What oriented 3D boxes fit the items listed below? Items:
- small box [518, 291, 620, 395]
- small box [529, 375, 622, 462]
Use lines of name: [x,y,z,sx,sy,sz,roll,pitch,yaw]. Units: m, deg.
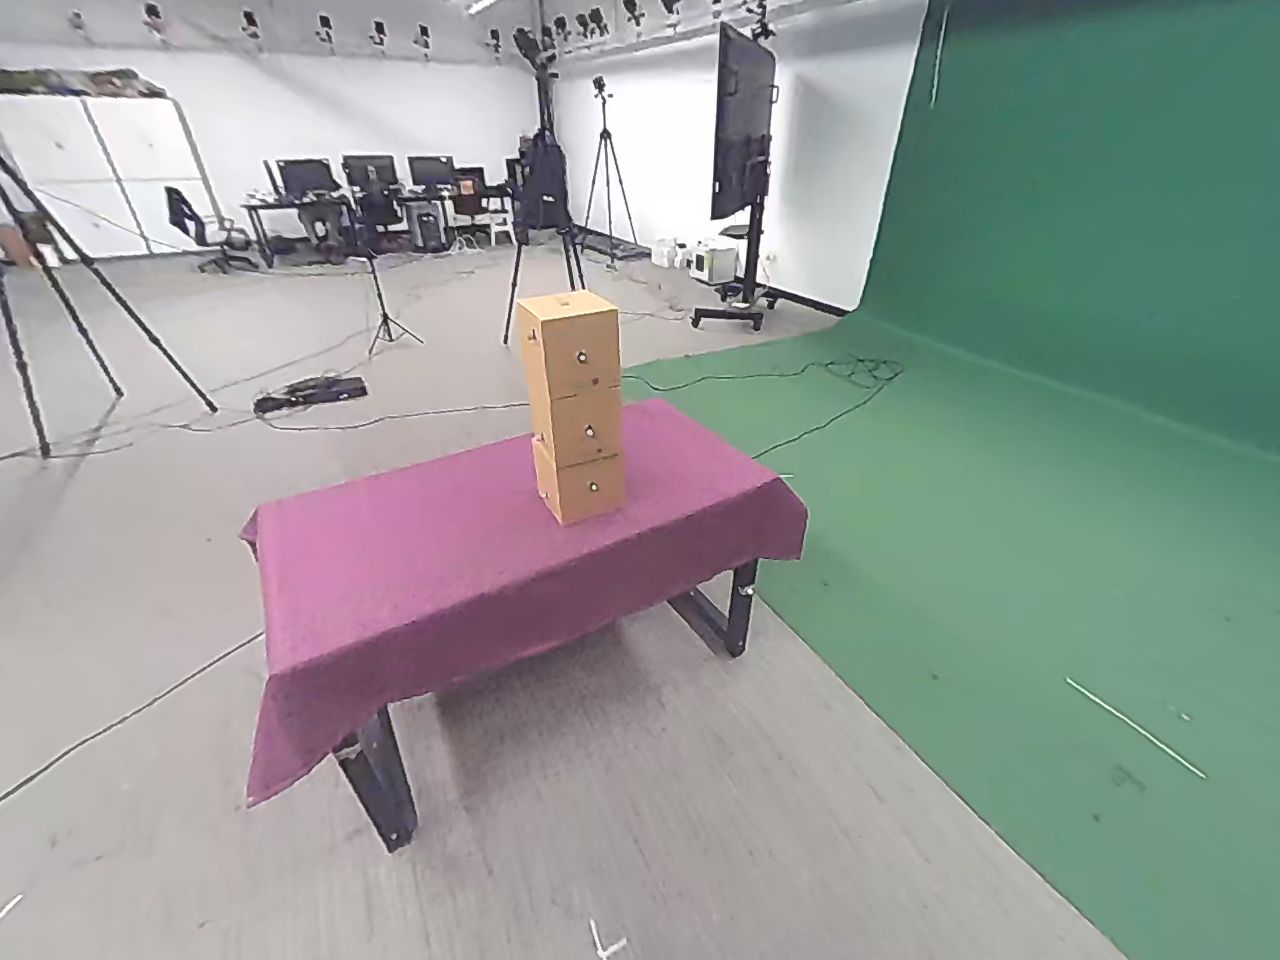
small box: [-0.149,-0.291,1.157,0.168,0.176,0.179,-16,35,-22]
small box: [-0.147,-0.153,1.249,0.168,0.176,0.179,-15,36,-21]
